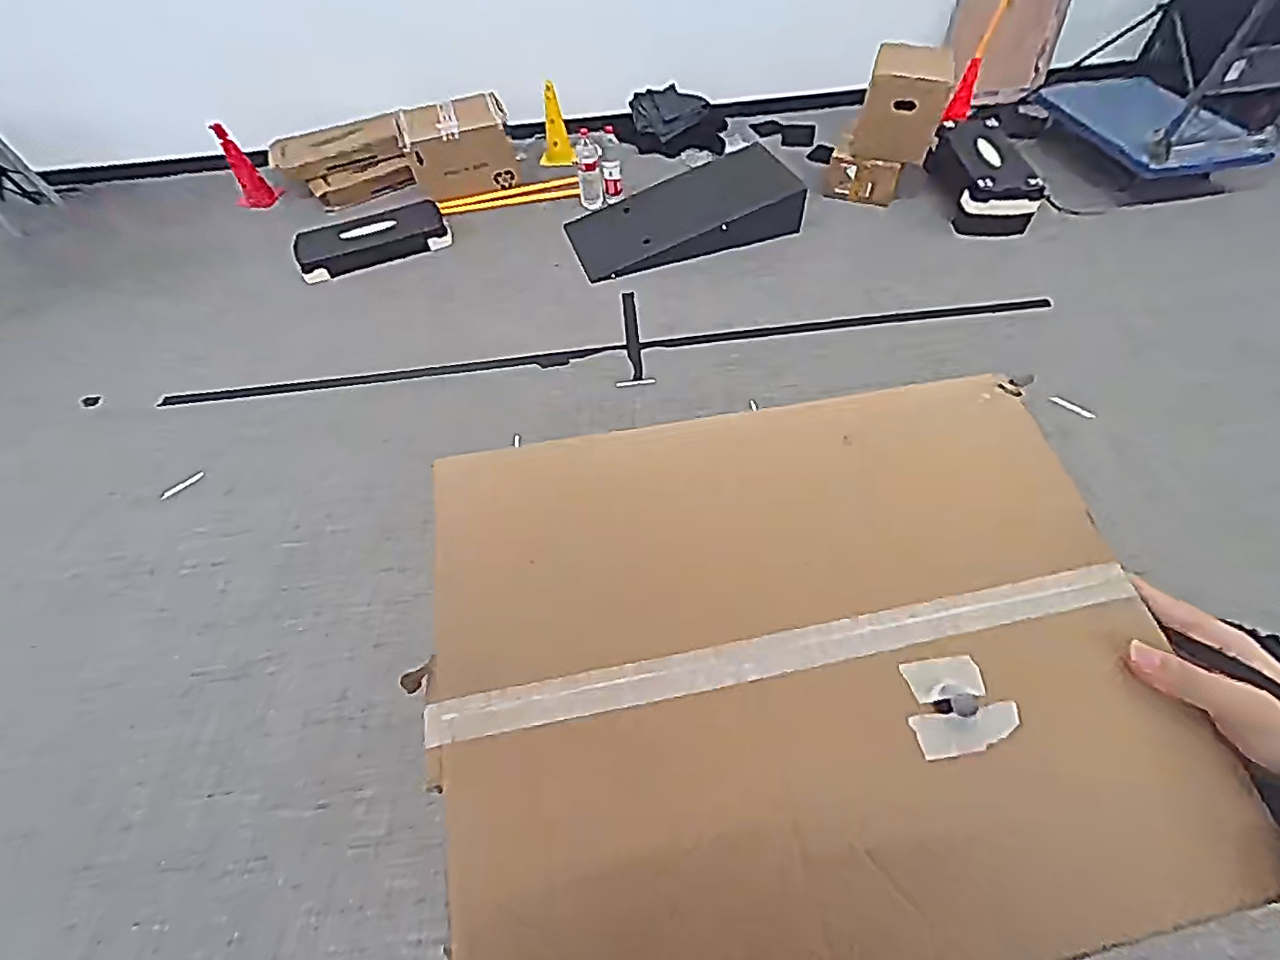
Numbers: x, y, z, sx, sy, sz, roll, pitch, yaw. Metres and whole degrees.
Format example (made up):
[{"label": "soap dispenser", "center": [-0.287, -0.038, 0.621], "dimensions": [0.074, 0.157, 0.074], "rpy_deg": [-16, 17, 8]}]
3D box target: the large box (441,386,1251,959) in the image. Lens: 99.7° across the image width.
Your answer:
[{"label": "large box", "center": [0.087, 0.163, 0.450], "dimensions": [0.408, 0.320, 0.320], "rpy_deg": [-10, 66, -7]}]
